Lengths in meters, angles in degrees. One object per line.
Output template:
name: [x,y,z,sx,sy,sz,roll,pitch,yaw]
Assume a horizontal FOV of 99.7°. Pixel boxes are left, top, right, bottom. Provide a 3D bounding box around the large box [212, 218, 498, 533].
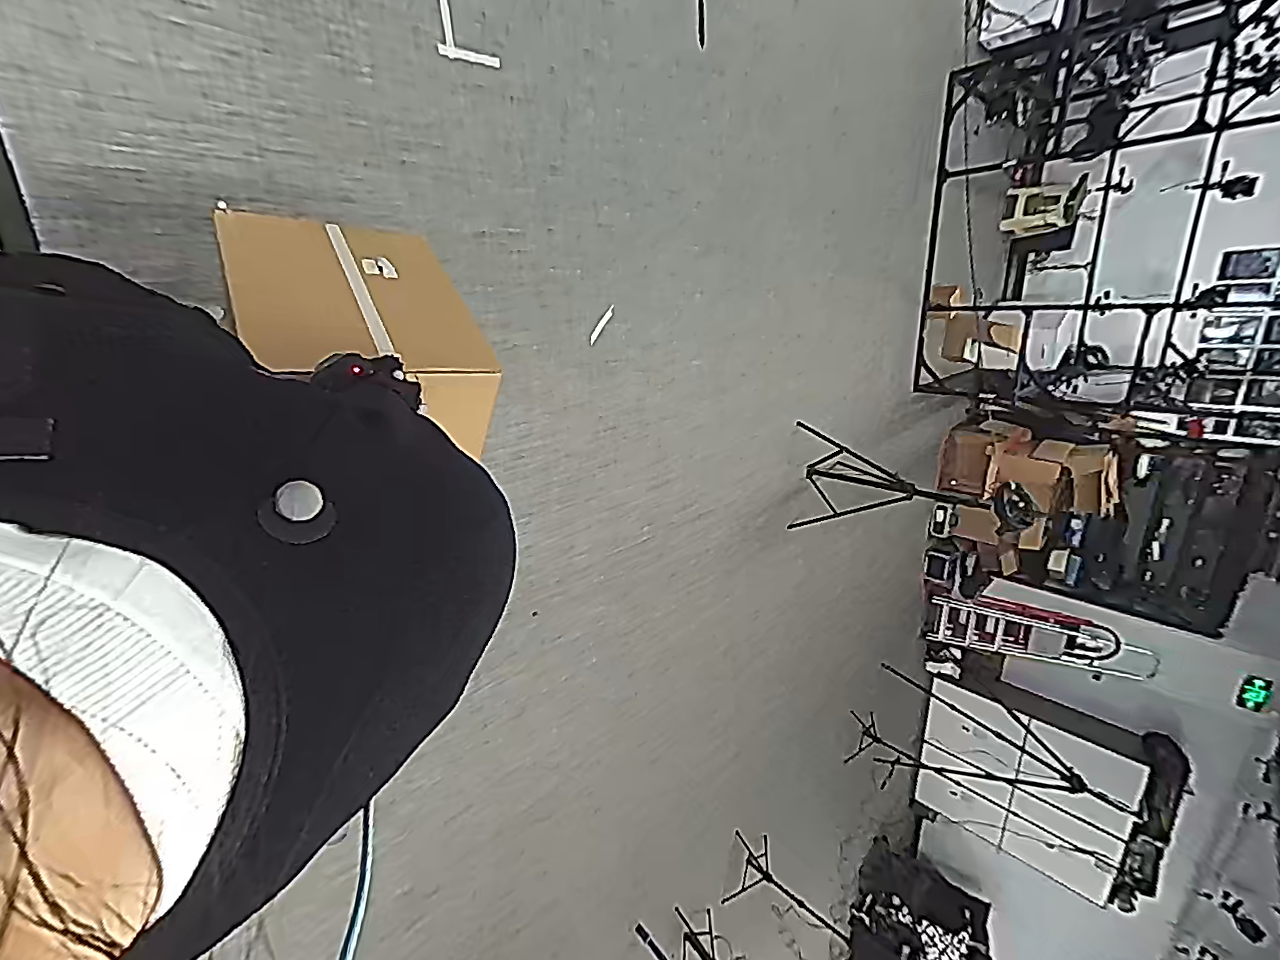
large box: [-0.486,-0.177,0.913,0.320,0.408,0.320,-9,141,-39]
